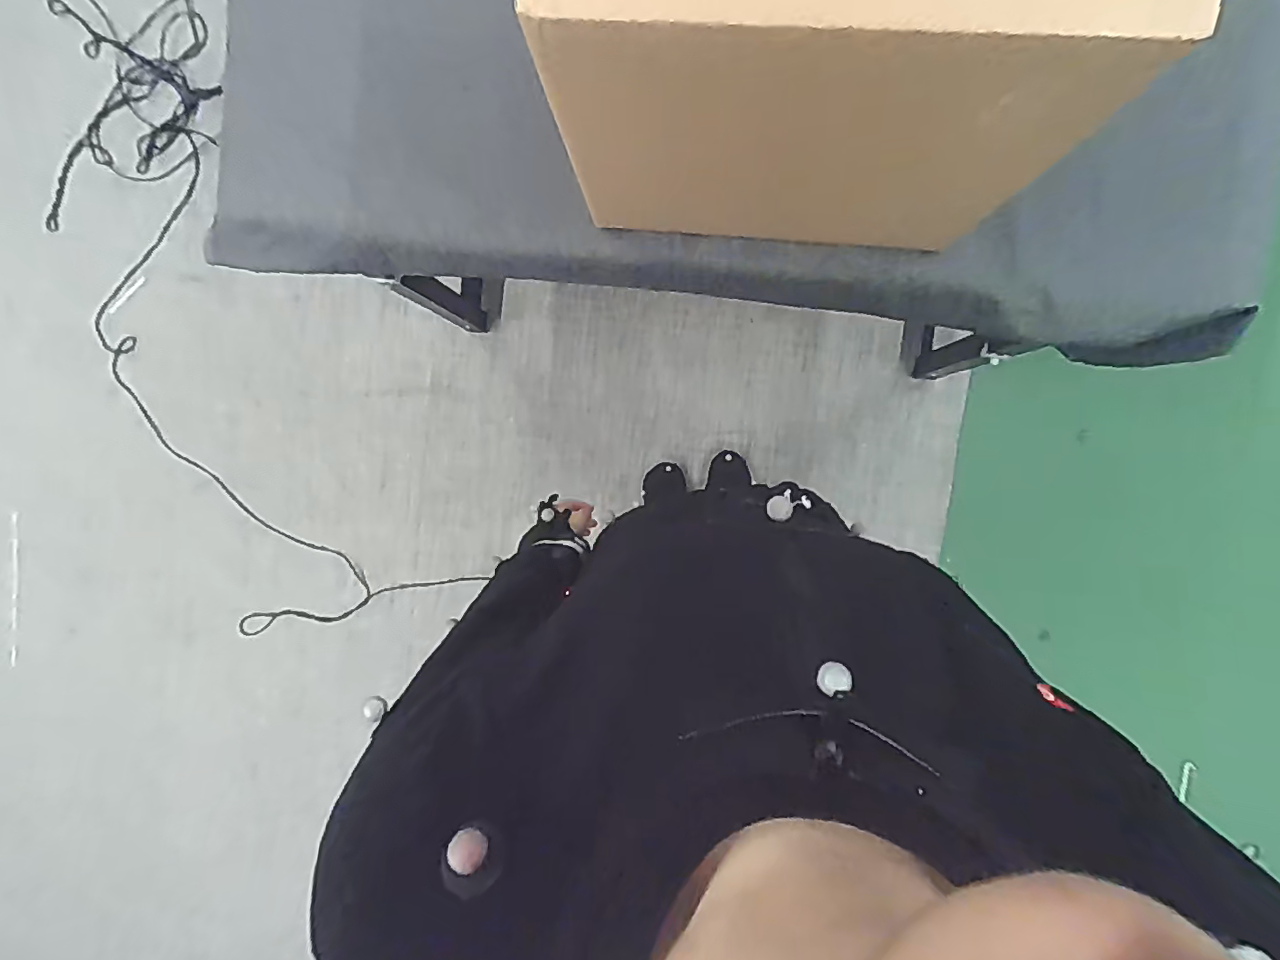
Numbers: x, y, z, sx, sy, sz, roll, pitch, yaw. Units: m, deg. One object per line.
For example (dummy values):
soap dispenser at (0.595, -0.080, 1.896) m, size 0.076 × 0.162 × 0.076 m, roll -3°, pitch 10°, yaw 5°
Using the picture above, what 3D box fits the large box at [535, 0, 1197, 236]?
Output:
large box at (0.147, -0.434, 0.471) m, size 0.408 × 0.320 × 0.320 m, roll 5°, pitch 93°, yaw 3°
